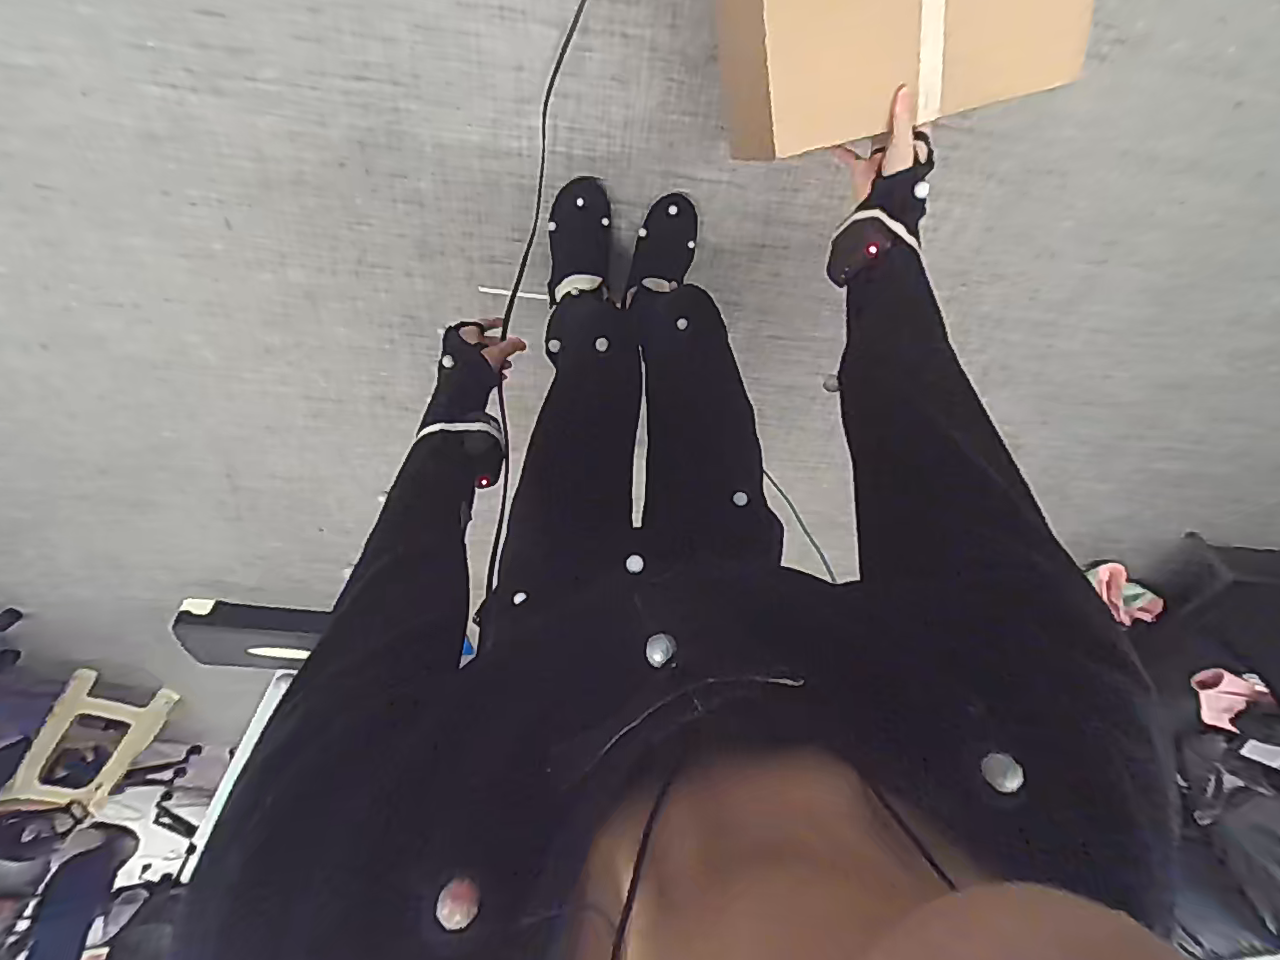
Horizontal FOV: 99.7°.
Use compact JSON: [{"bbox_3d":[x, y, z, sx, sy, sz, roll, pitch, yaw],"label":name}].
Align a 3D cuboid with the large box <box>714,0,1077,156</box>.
[{"bbox_3d":[0.248,-0.629,0.606,0.320,0.320,0.408,-11,120,5],"label":"large box"}]
